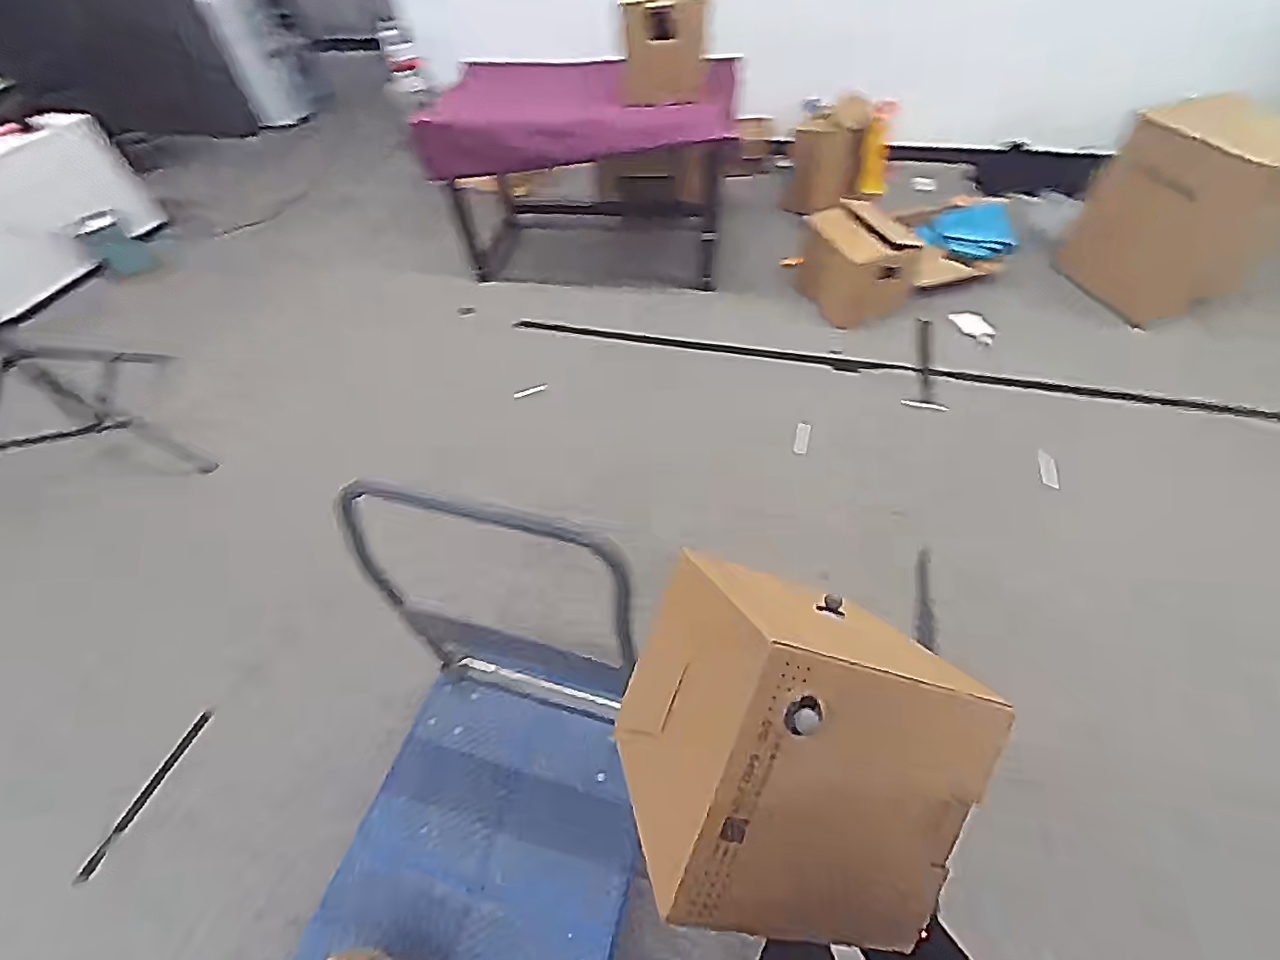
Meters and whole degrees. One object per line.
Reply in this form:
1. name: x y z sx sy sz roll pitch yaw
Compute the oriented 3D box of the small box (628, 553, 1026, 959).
1. small box: 0.102 0.170 0.377 0.176 0.179 0.168 21 95 -13
